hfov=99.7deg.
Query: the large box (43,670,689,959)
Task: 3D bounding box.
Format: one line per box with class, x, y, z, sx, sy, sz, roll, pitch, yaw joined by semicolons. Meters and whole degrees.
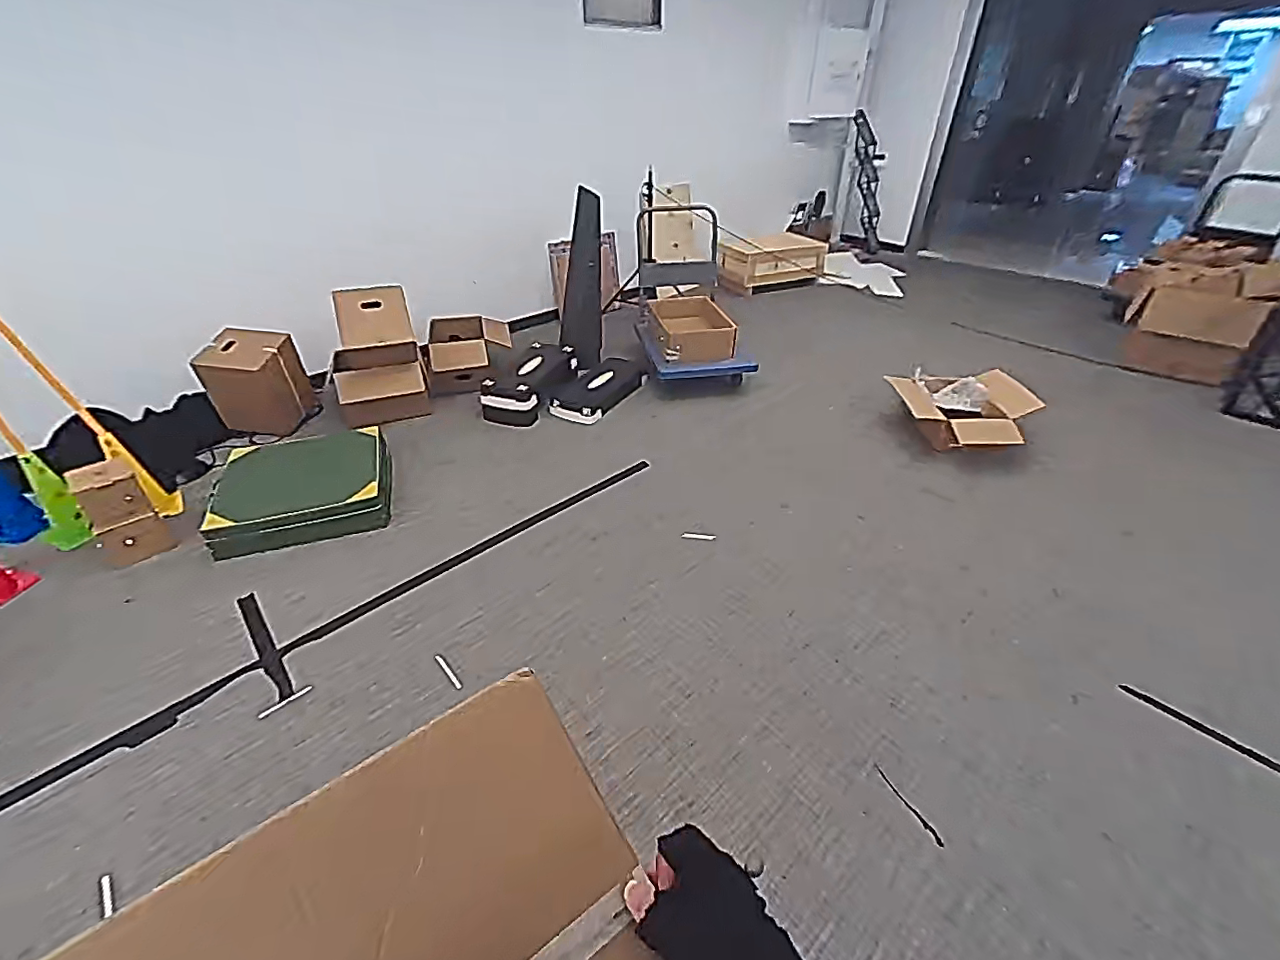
large box;-0.195;0.408;0.396;0.408;0.320;0.320;-26;73;-26
